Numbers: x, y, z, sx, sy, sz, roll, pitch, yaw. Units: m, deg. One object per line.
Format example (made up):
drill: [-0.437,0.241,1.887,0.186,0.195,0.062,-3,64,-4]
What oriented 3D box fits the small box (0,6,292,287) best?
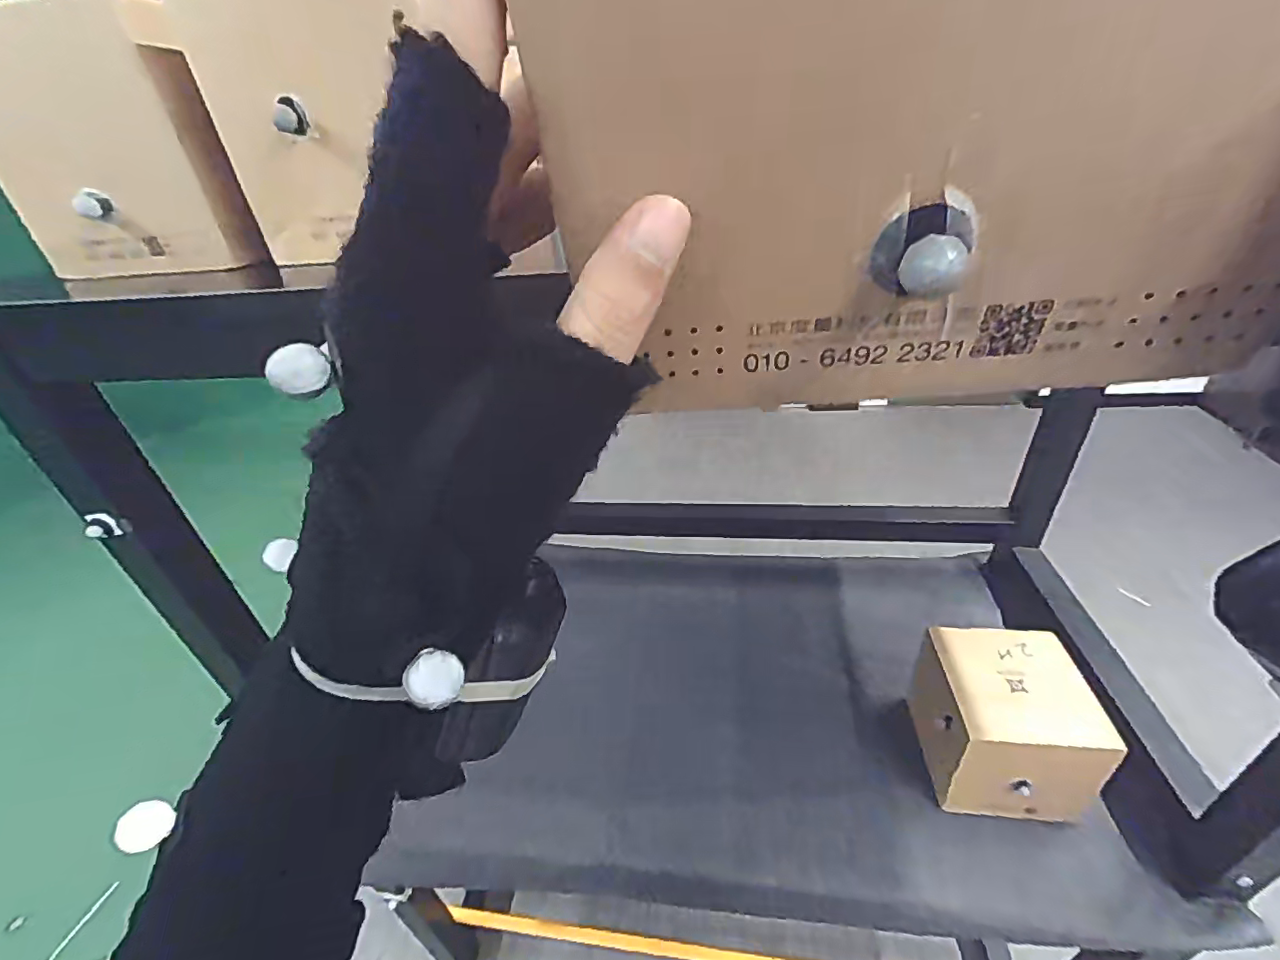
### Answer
small box: [-0.387,-0.270,0.458,0.168,0.176,0.179,0,34,9]

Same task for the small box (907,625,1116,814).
small box: [0.485,0.324,0.739,0.168,0.176,0.179,0,33,9]

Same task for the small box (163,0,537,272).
small box: [-0.193,-0.268,0.427,0.168,0.176,0.179,0,33,10]
